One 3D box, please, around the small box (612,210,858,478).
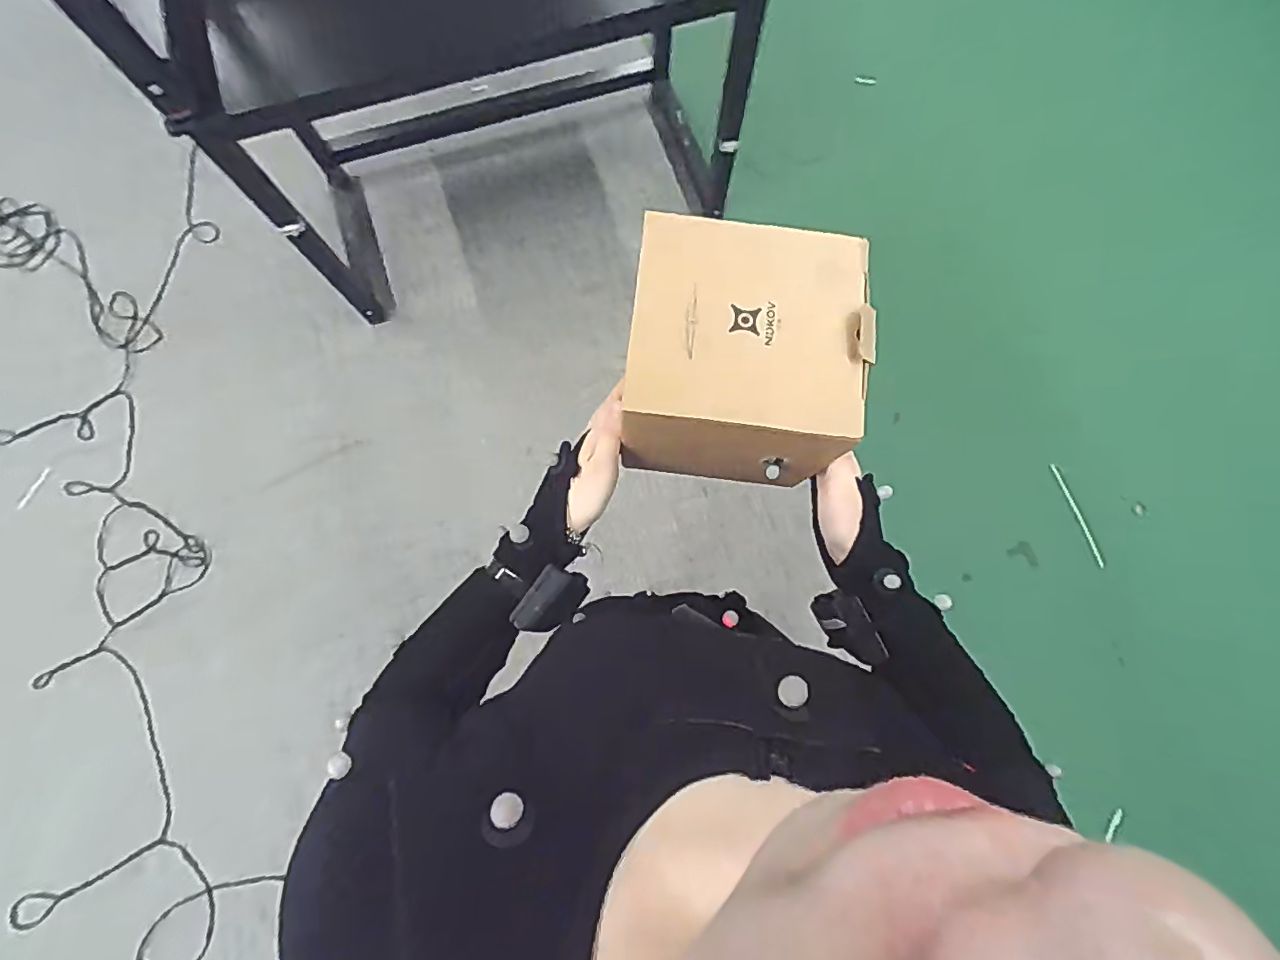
[{"bbox_3d":[0.072,-0.103,0.479,0.179,0.176,0.168,6,77,0],"label":"small box"}]
